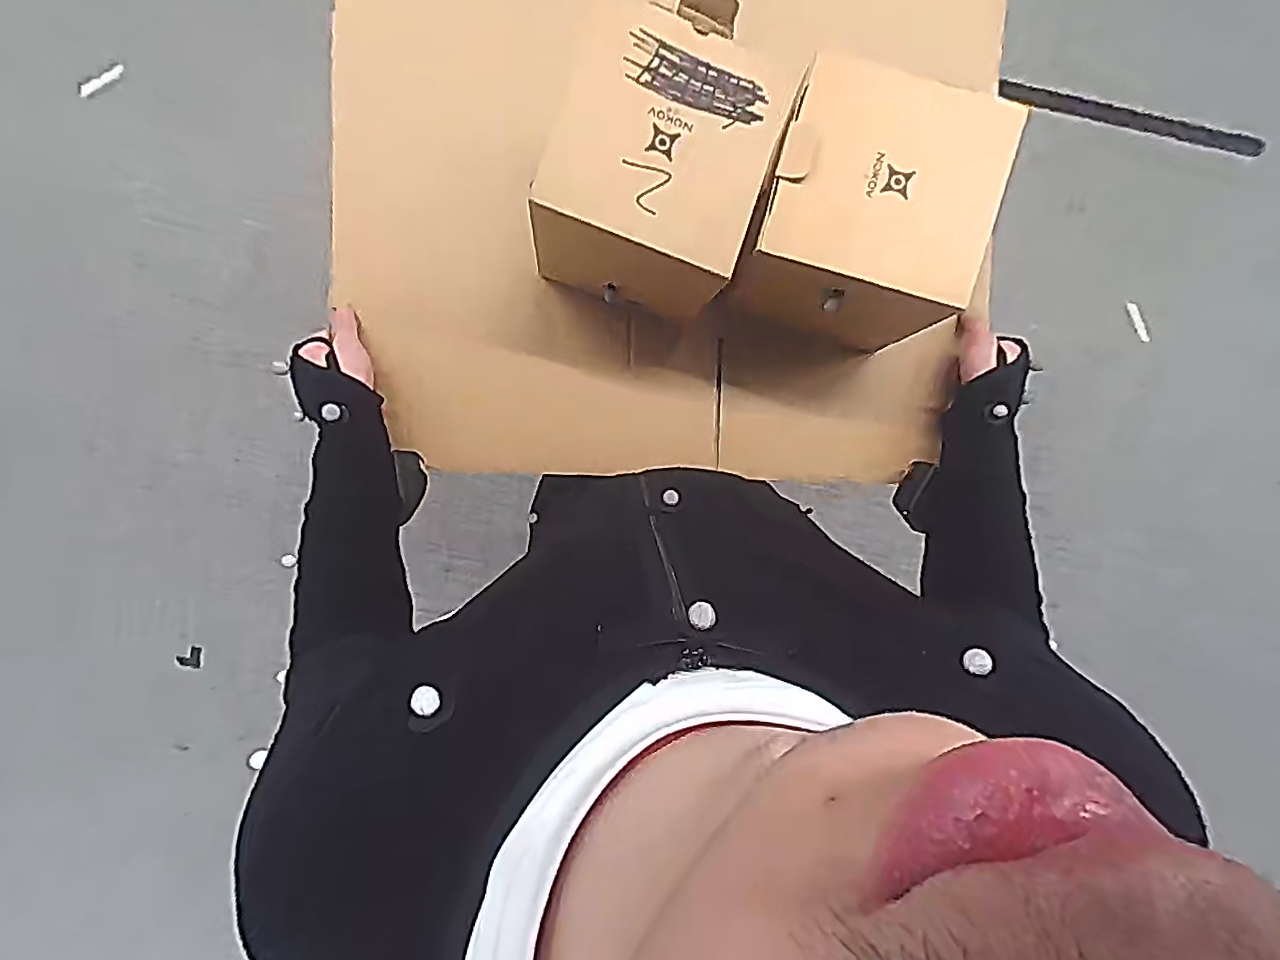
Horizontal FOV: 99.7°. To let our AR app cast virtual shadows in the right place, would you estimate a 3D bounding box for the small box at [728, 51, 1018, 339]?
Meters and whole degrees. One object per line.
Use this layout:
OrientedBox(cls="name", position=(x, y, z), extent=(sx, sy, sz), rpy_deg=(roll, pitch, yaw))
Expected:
OrientedBox(cls="small box", position=(0.199, -0.245, 0.516), extent=(0.179, 0.176, 0.168), rpy_deg=(16, 92, 0))
